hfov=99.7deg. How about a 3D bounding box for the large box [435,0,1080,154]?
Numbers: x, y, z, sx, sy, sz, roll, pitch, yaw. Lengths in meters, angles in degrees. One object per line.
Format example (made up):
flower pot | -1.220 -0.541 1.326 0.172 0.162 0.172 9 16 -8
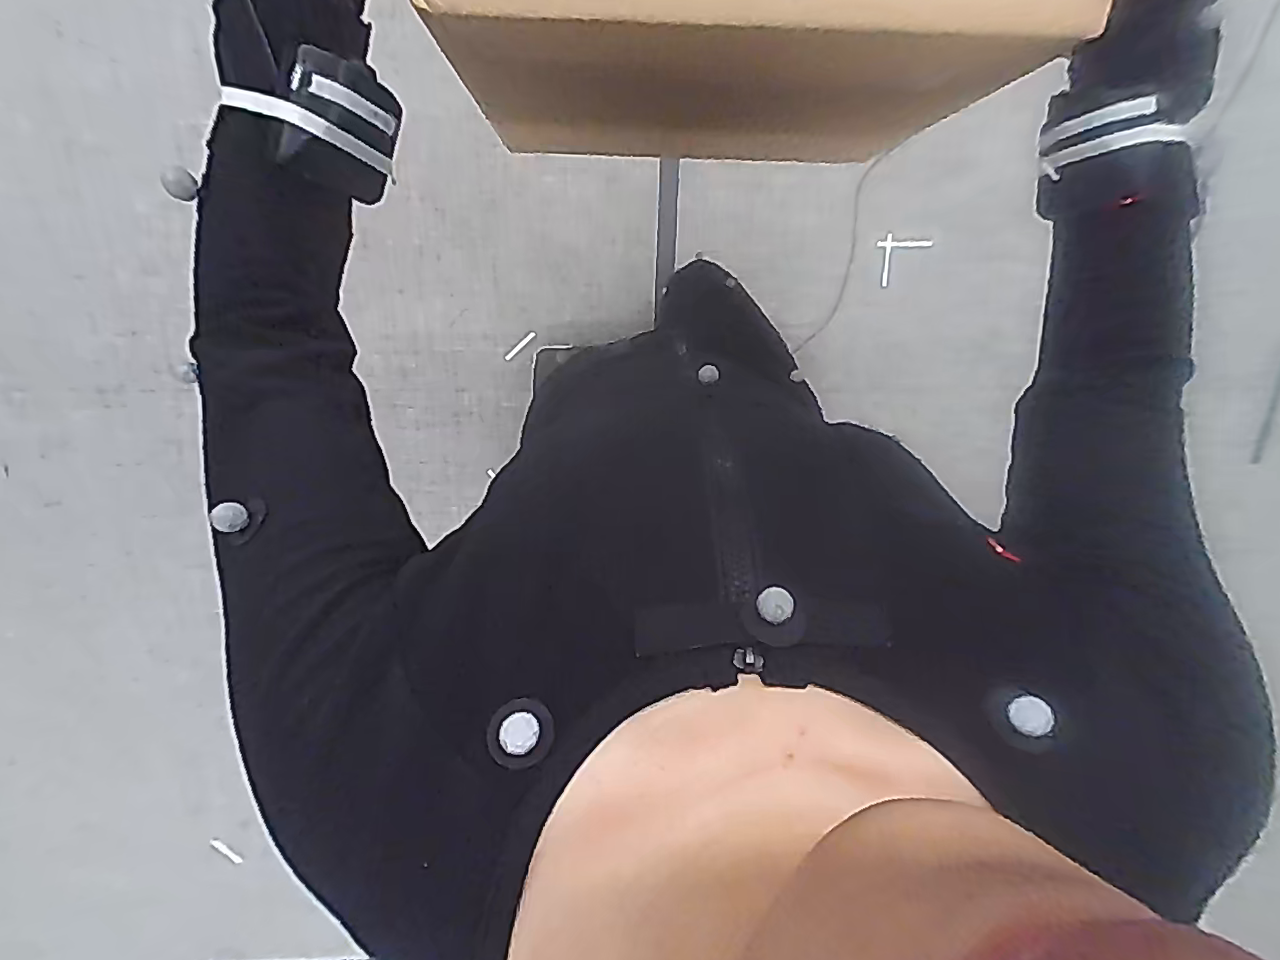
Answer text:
large box | 0.063 -0.467 0.420 0.408 0.320 0.320 -1 109 -4
